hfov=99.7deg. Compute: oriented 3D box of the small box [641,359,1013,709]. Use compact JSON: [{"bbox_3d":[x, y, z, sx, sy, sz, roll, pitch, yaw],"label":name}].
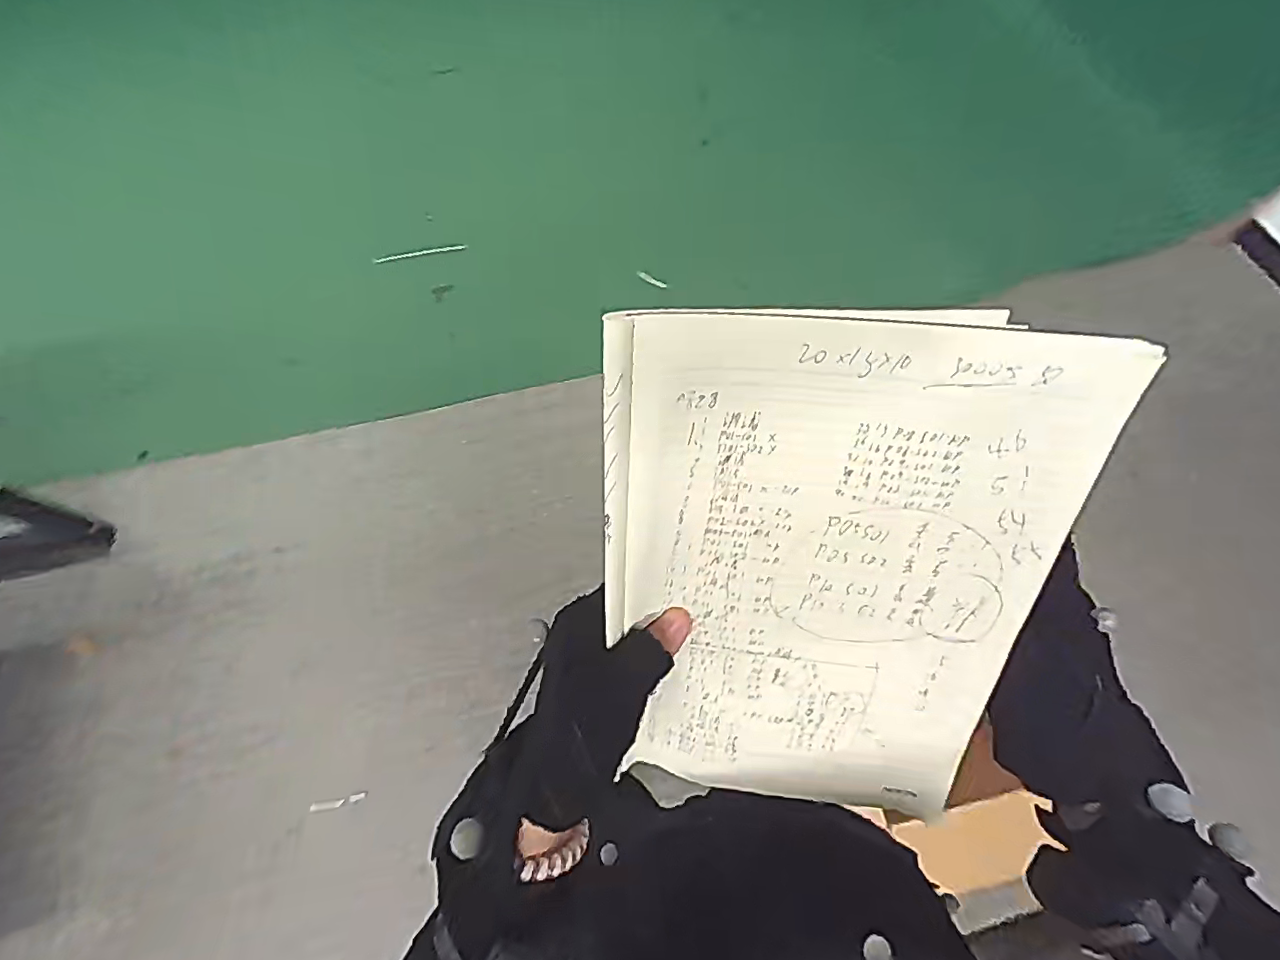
[{"bbox_3d":[0.100,0.018,0.353,0.179,0.176,0.168,-8,106,3],"label":"small box"}]
